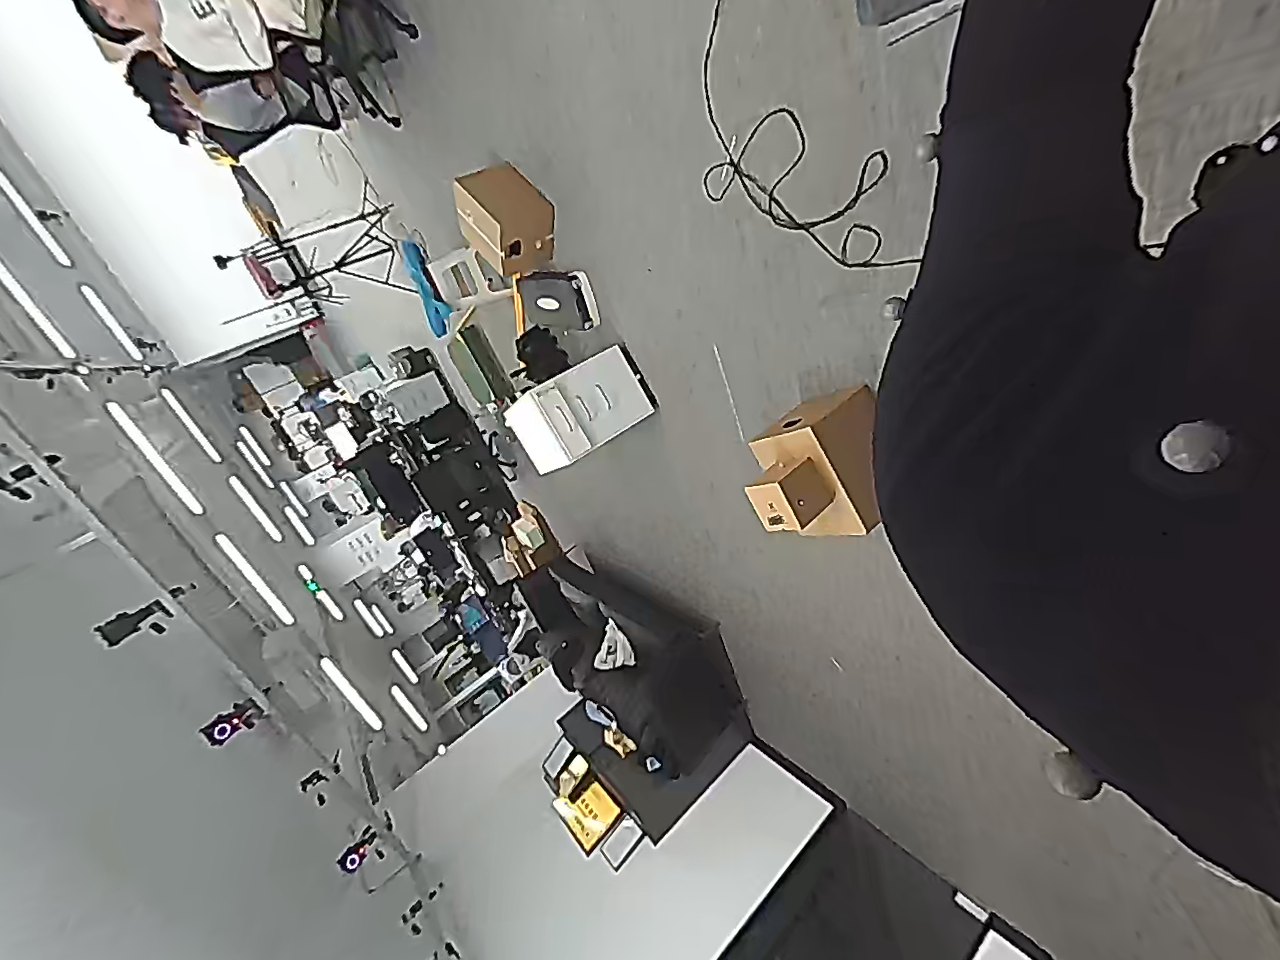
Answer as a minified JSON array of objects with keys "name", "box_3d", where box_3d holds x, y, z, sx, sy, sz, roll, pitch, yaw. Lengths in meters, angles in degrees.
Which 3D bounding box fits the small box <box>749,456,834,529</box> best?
[{"name":"small box","box_3d":[0.501,0.043,1.772,0.179,0.176,0.168,60,153,-9]}]
